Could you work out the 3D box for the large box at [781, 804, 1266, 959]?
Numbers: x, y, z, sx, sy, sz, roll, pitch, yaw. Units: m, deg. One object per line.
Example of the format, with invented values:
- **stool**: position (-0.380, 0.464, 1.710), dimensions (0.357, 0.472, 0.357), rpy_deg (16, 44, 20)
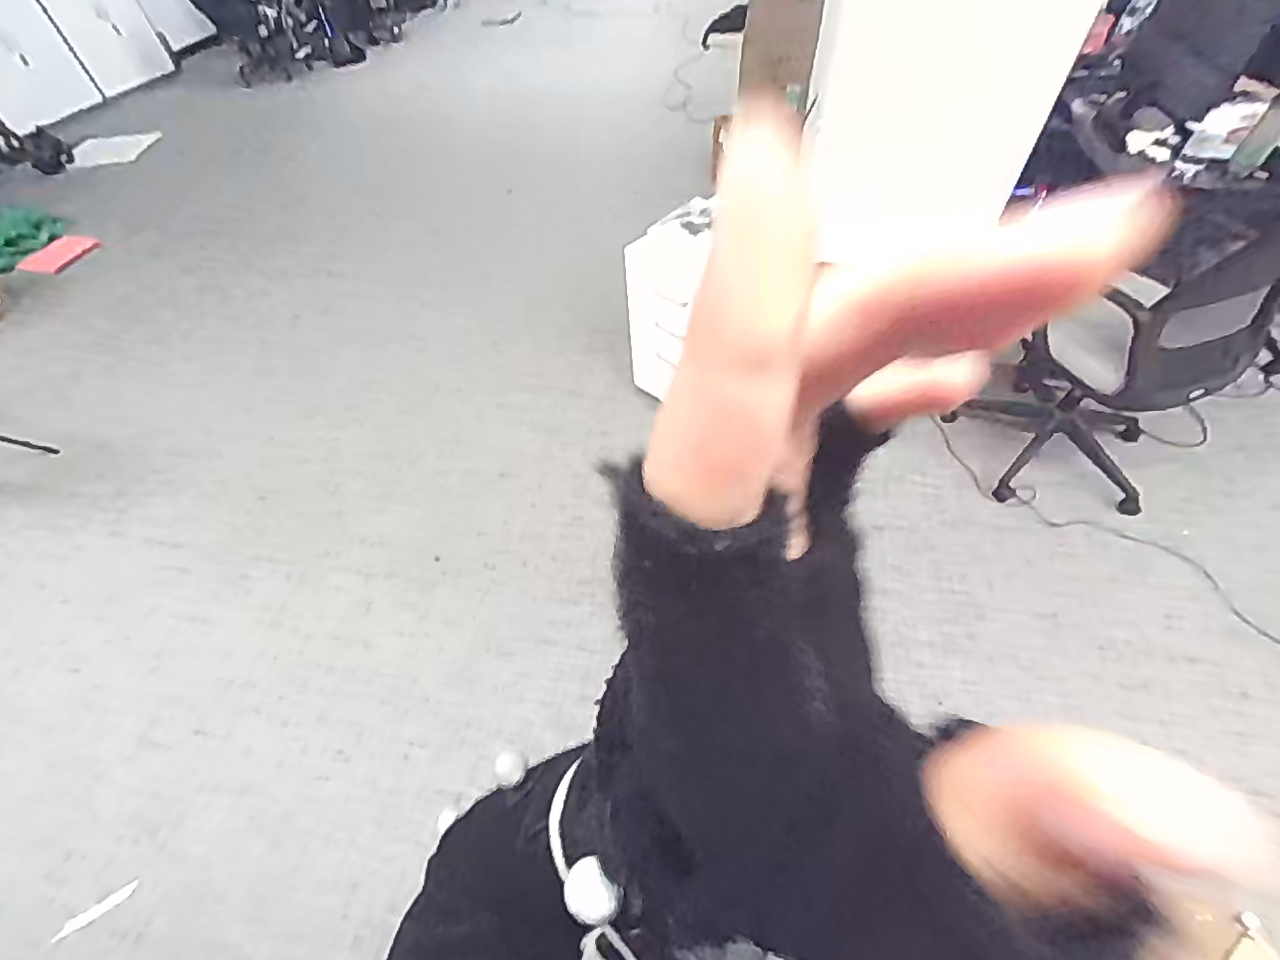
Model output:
- **large box**: position (0.446, 0.658, 0.605), dimensions (0.320, 0.408, 0.320), rpy_deg (-29, 87, -22)
